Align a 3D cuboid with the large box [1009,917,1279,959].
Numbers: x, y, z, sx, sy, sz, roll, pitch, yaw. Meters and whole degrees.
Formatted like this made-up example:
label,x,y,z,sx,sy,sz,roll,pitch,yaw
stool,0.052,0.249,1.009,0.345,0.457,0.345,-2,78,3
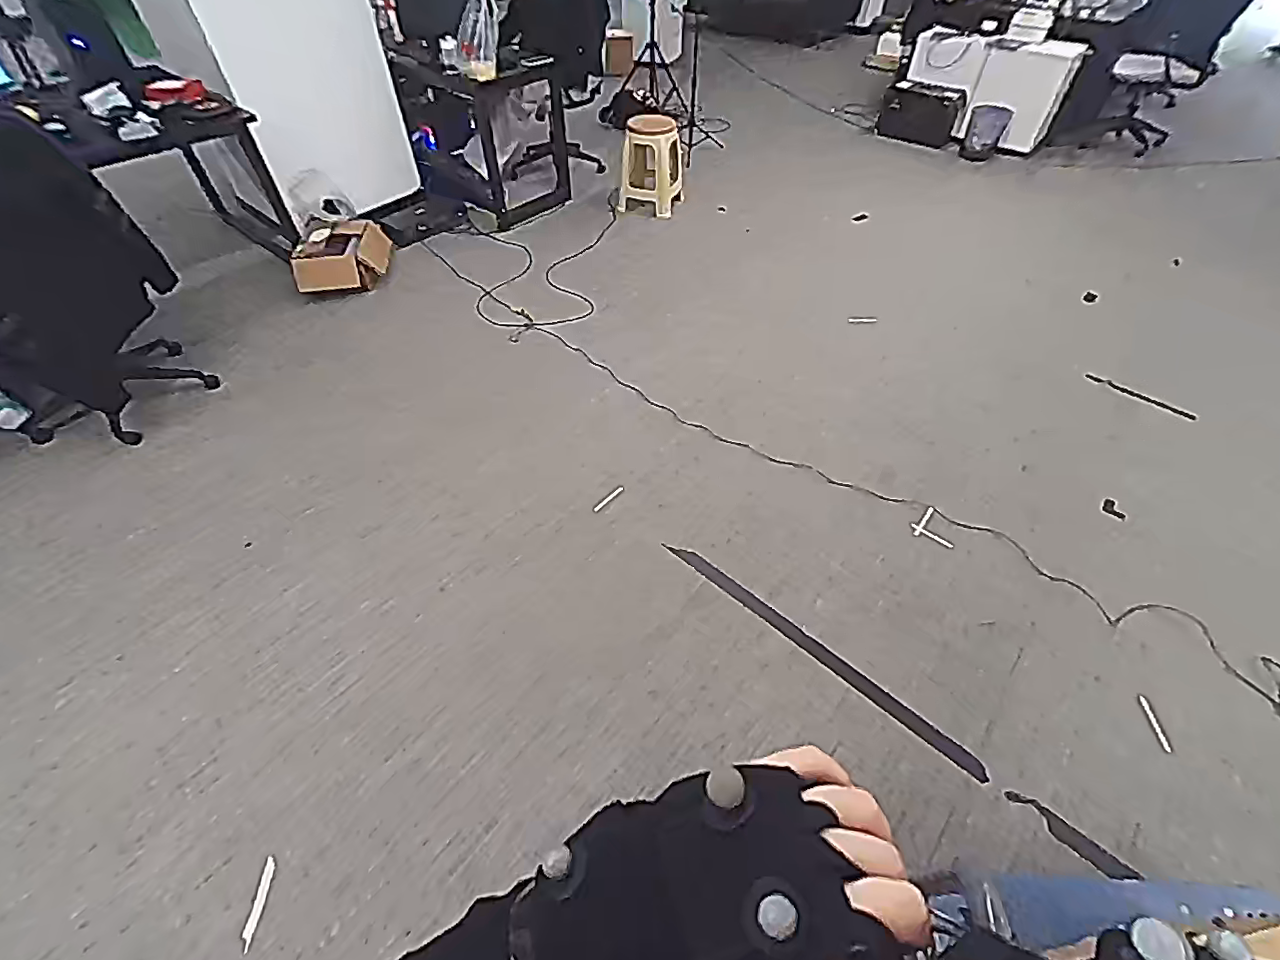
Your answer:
label,x,y,z,sx,sy,sz,roll,pitch,yaw
large box,0.835,0.894,0.750,0.320,0.320,0.408,-8,51,-5
